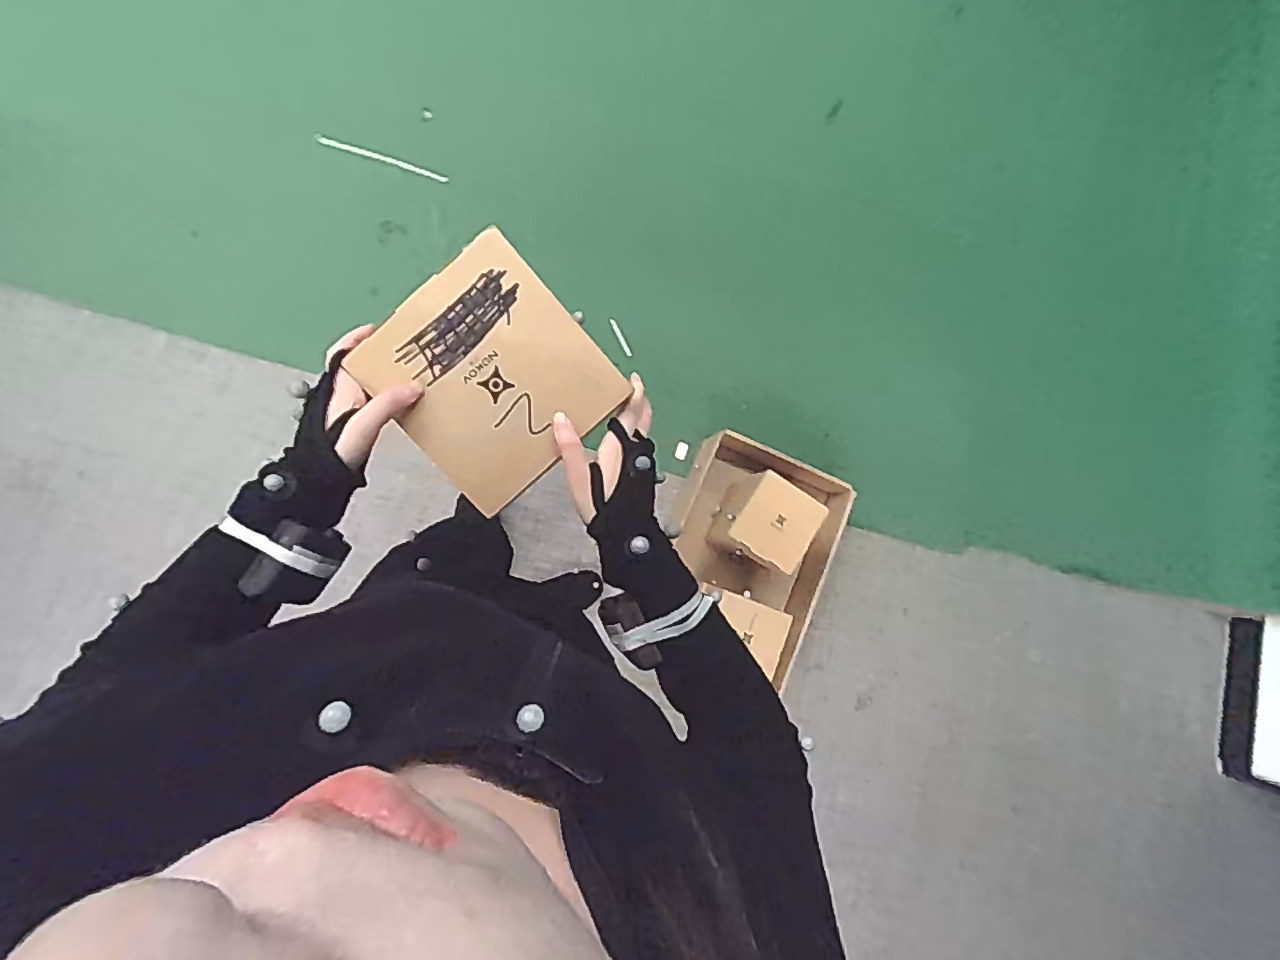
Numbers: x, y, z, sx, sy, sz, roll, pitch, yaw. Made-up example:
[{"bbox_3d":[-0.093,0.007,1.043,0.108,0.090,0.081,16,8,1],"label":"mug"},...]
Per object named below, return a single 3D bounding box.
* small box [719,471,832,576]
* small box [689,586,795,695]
[{"bbox_3d":[0.305,0.099,1.260,0.168,0.176,0.179,34,85,-2],"label":"small box"},{"bbox_3d":[0.220,0.354,1.224,0.168,0.176,0.179,23,82,-2],"label":"small box"}]
